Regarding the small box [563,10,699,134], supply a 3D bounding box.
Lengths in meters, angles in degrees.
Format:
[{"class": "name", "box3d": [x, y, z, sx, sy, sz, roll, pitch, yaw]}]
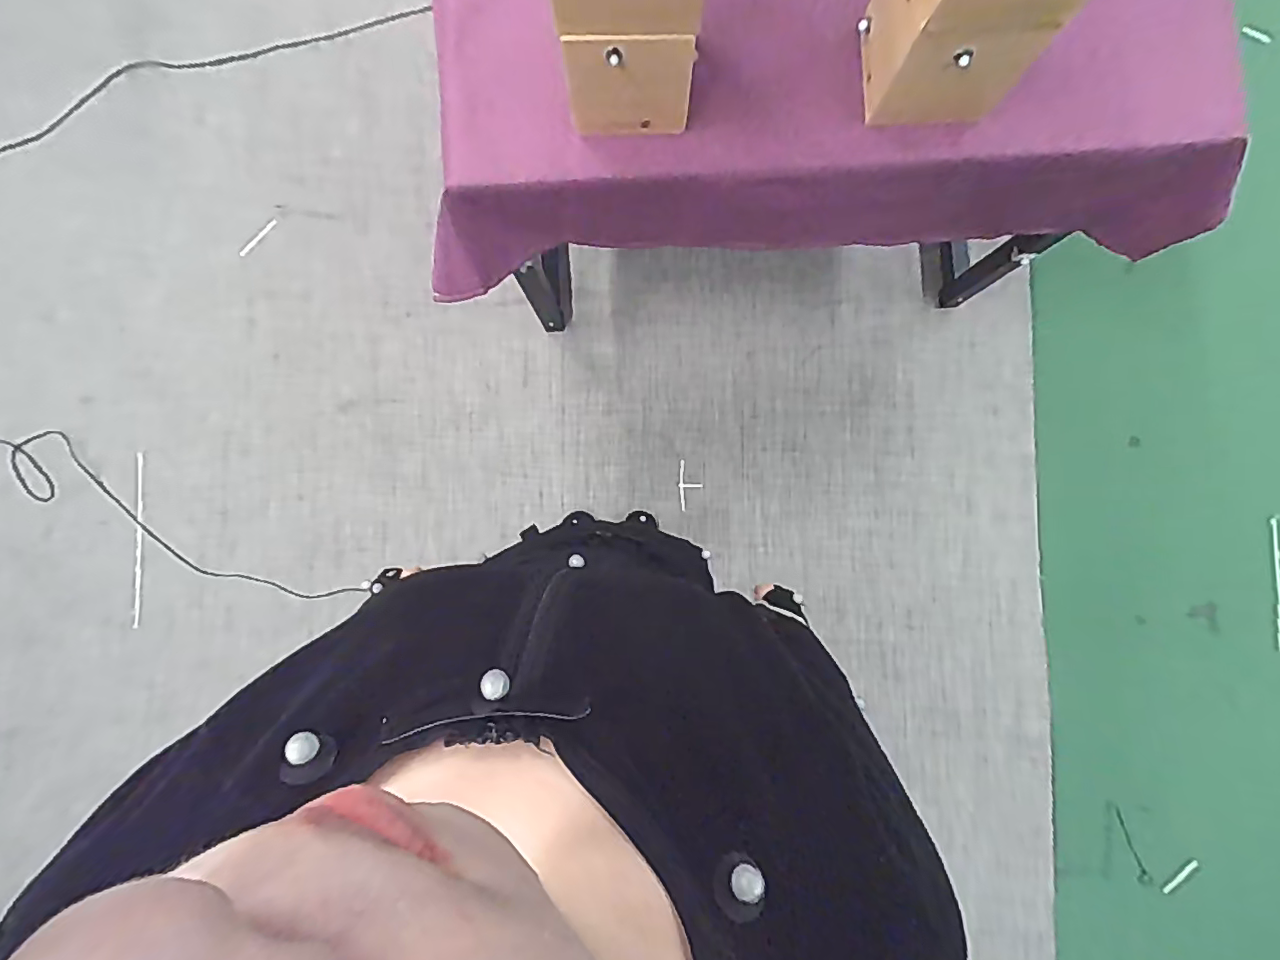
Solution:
[{"class": "small box", "box3d": [-0.011, -0.611, 0.734, 0.168, 0.176, 0.179, 0, 87, 1]}]

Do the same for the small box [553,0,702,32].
[{"class": "small box", "box3d": [-0.011, -0.619, 0.571, 0.179, 0.176, 0.168, 1, 87, 1]}]

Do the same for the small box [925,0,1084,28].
[{"class": "small box", "box3d": [0.428, -0.625, 0.570, 0.179, 0.176, 0.168, -2, 88, 1]}]

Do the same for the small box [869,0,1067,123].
[{"class": "small box", "box3d": [0.425, -0.618, 0.733, 0.179, 0.176, 0.168, -1, 87, 0]}]
